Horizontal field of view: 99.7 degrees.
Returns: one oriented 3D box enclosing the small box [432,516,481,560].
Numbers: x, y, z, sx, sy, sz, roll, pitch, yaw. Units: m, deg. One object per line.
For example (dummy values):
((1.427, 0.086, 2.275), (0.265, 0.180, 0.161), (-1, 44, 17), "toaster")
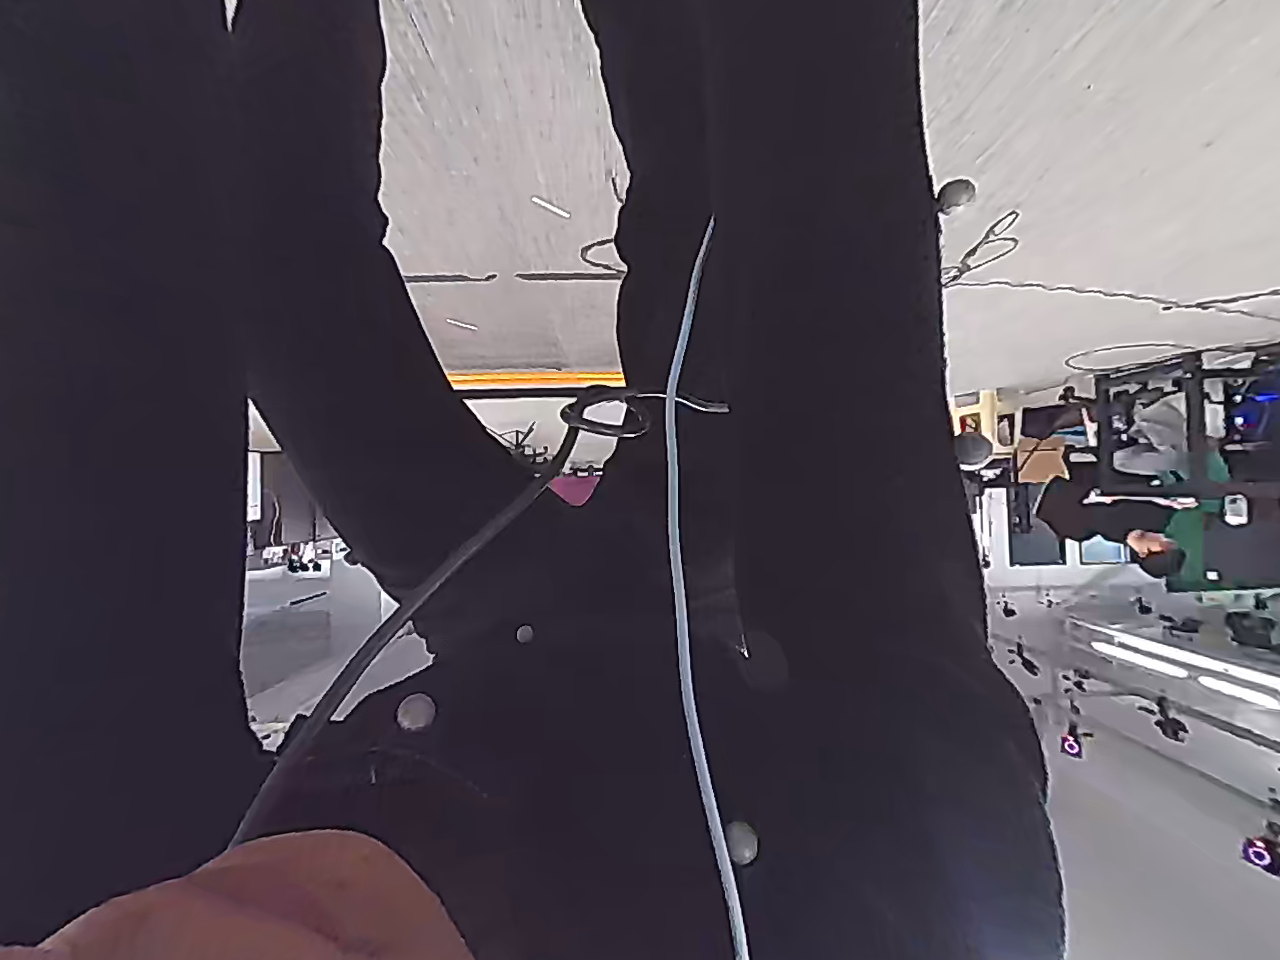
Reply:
((-0.795, 0.247, 2.346), (0.168, 0.176, 0.179), (-2, 179, -5), "small box")
